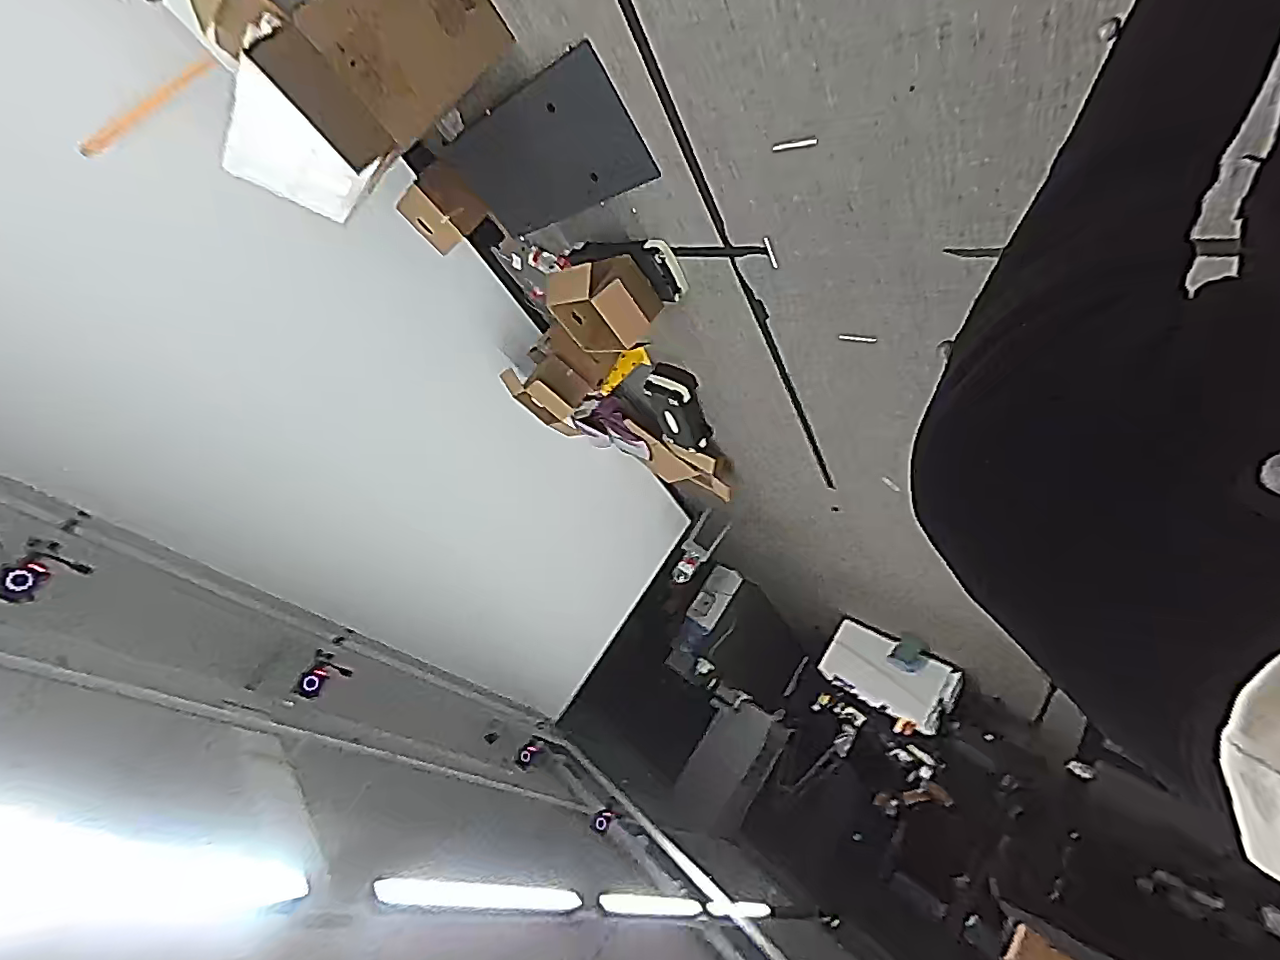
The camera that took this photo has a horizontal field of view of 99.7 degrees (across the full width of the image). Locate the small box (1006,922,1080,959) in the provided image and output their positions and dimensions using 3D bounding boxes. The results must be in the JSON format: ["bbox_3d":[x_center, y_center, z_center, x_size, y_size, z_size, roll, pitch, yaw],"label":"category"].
[{"bbox_3d":[1.069,1.313,1.421,0.168,0.176,0.179,22,164,40],"label":"small box"}]
